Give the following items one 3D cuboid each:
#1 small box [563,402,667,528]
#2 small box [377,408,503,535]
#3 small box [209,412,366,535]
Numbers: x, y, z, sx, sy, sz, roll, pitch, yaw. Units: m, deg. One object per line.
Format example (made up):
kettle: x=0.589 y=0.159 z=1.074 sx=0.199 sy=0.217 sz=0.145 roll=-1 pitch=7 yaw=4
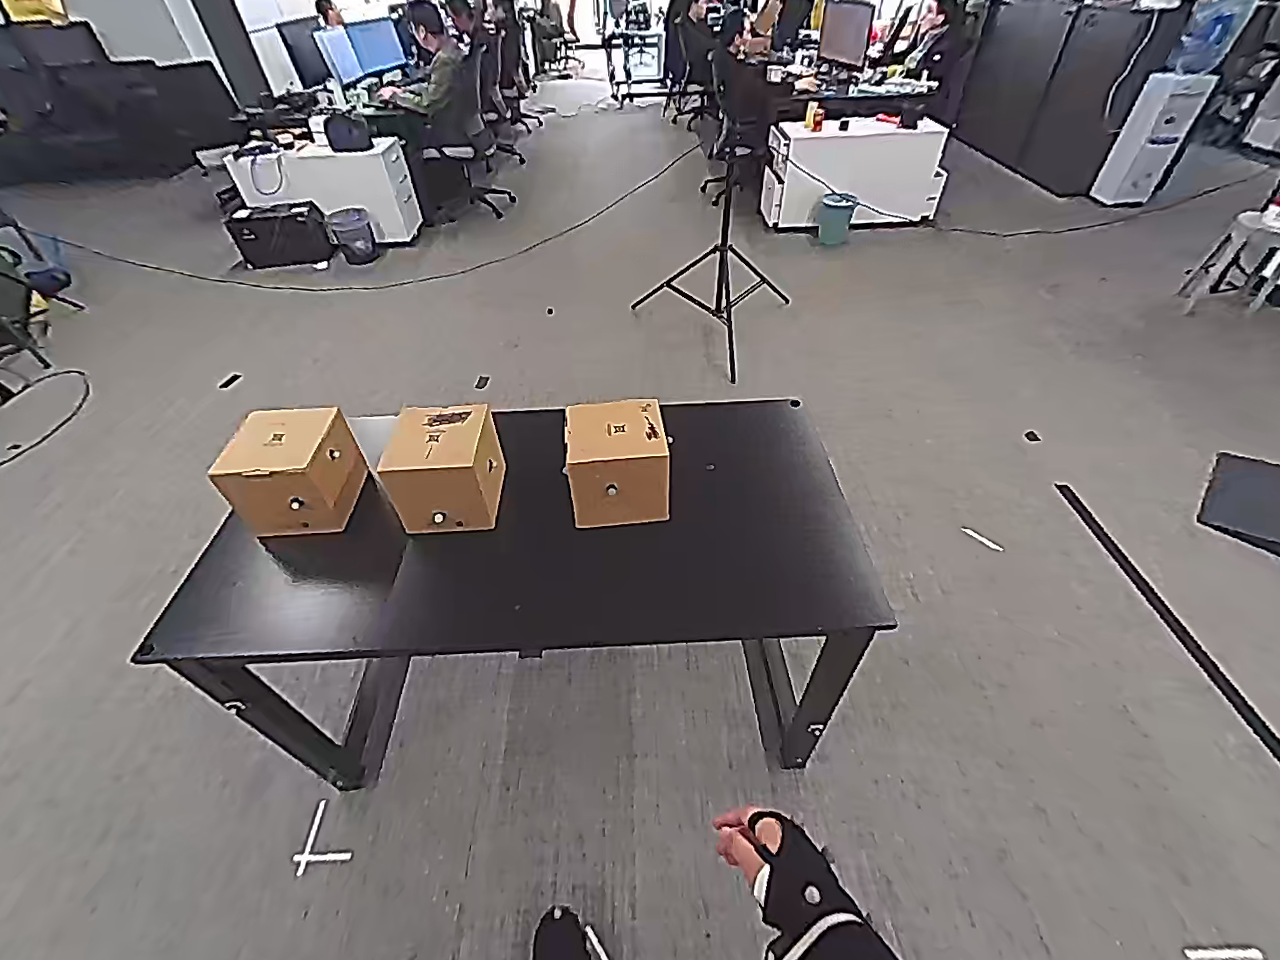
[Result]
small box: x=-0.046 y=-0.025 z=1.023 sx=0.179 sy=0.176 sz=0.168 roll=-6 pitch=45 yaw=-3
small box: x=-0.364 y=-0.015 z=1.025 sx=0.168 sy=0.176 sz=0.179 roll=-3 pitch=45 yaw=-1
small box: x=-0.651 y=-0.008 z=1.029 sx=0.168 sy=0.176 sz=0.179 roll=-3 pitch=44 yaw=-3
